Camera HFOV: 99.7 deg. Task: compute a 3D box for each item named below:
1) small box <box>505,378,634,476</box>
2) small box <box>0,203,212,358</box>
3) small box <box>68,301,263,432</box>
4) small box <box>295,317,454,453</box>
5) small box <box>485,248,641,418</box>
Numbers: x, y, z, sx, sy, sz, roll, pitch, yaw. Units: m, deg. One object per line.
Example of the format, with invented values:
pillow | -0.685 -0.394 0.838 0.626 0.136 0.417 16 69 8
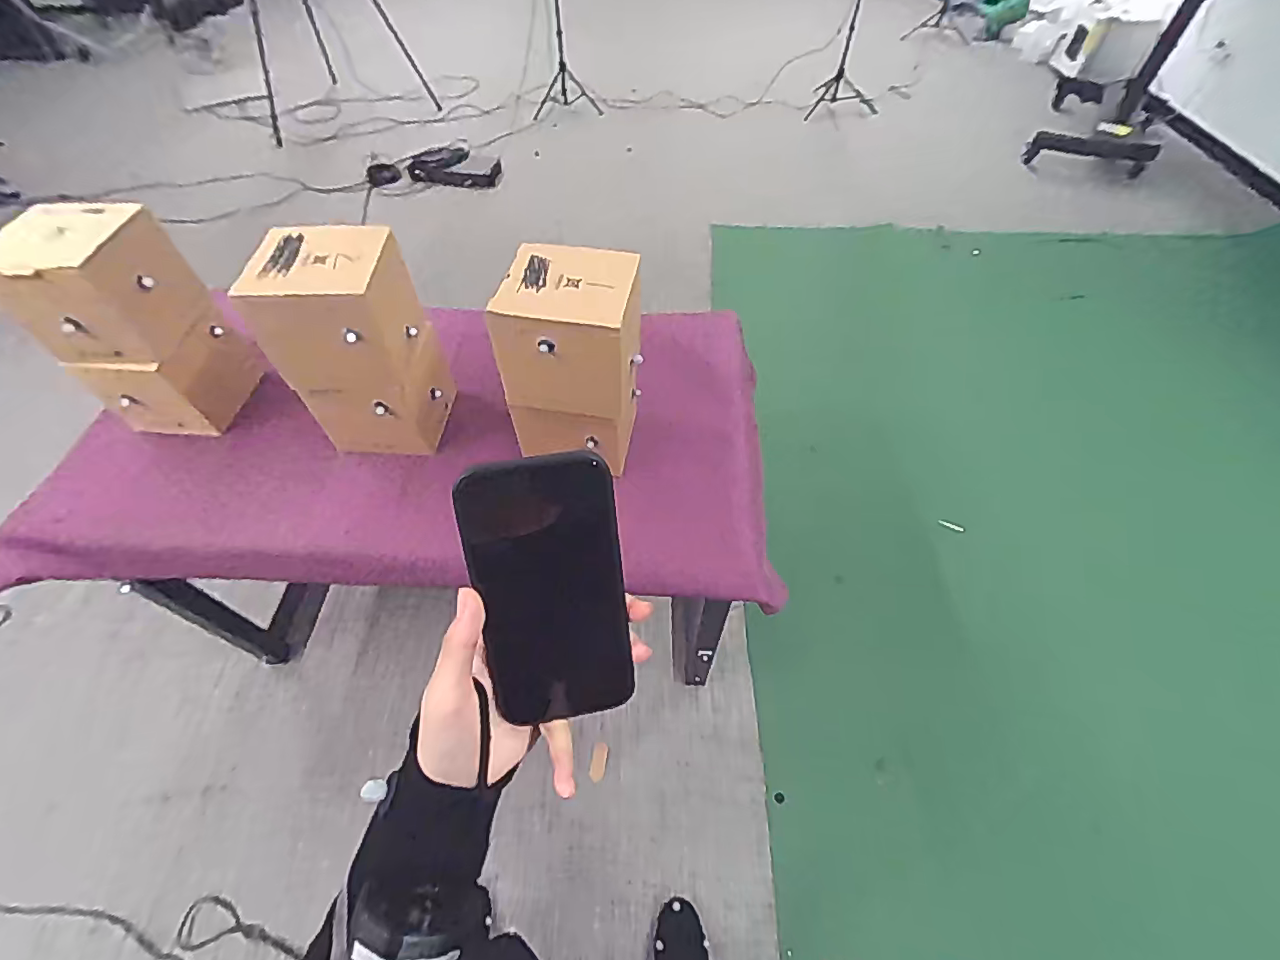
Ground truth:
small box | -0.108 -0.126 0.927 0.179 0.176 0.168 9 54 6
small box | -0.832 -0.308 0.849 0.168 0.176 0.179 1 55 -1
small box | -0.834 -0.205 0.977 0.168 0.176 0.179 5 54 3
small box | -0.446 -0.162 0.948 0.179 0.176 0.168 4 54 2
small box | -0.099 -0.209 0.786 0.179 0.176 0.168 9 54 5
